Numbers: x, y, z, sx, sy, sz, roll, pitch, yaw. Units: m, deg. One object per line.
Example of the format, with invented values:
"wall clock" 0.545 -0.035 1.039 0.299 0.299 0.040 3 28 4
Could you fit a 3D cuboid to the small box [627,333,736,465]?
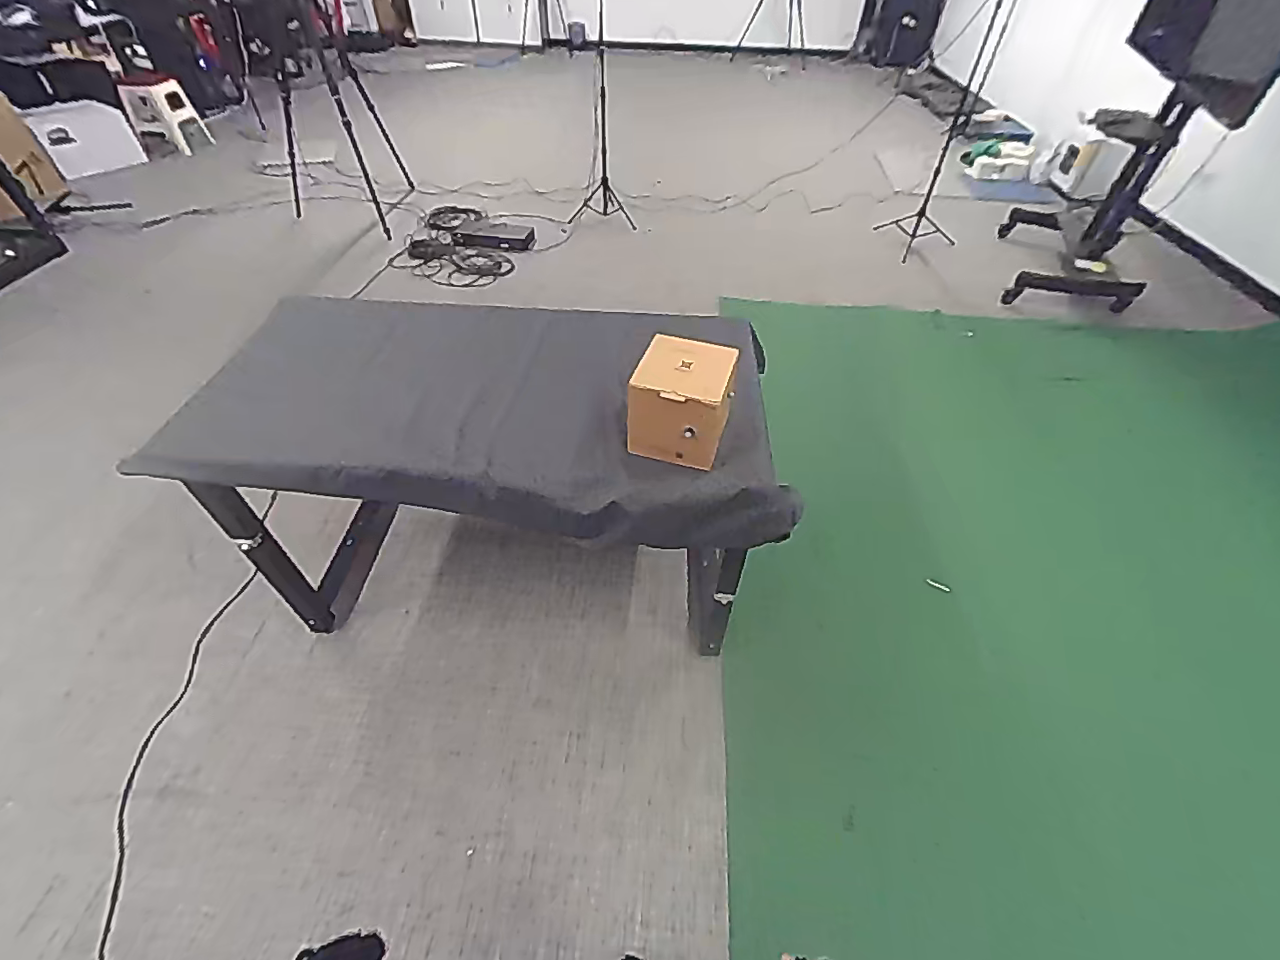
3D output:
"small box" 0.079 -0.154 1.039 0.168 0.176 0.179 14 46 10
